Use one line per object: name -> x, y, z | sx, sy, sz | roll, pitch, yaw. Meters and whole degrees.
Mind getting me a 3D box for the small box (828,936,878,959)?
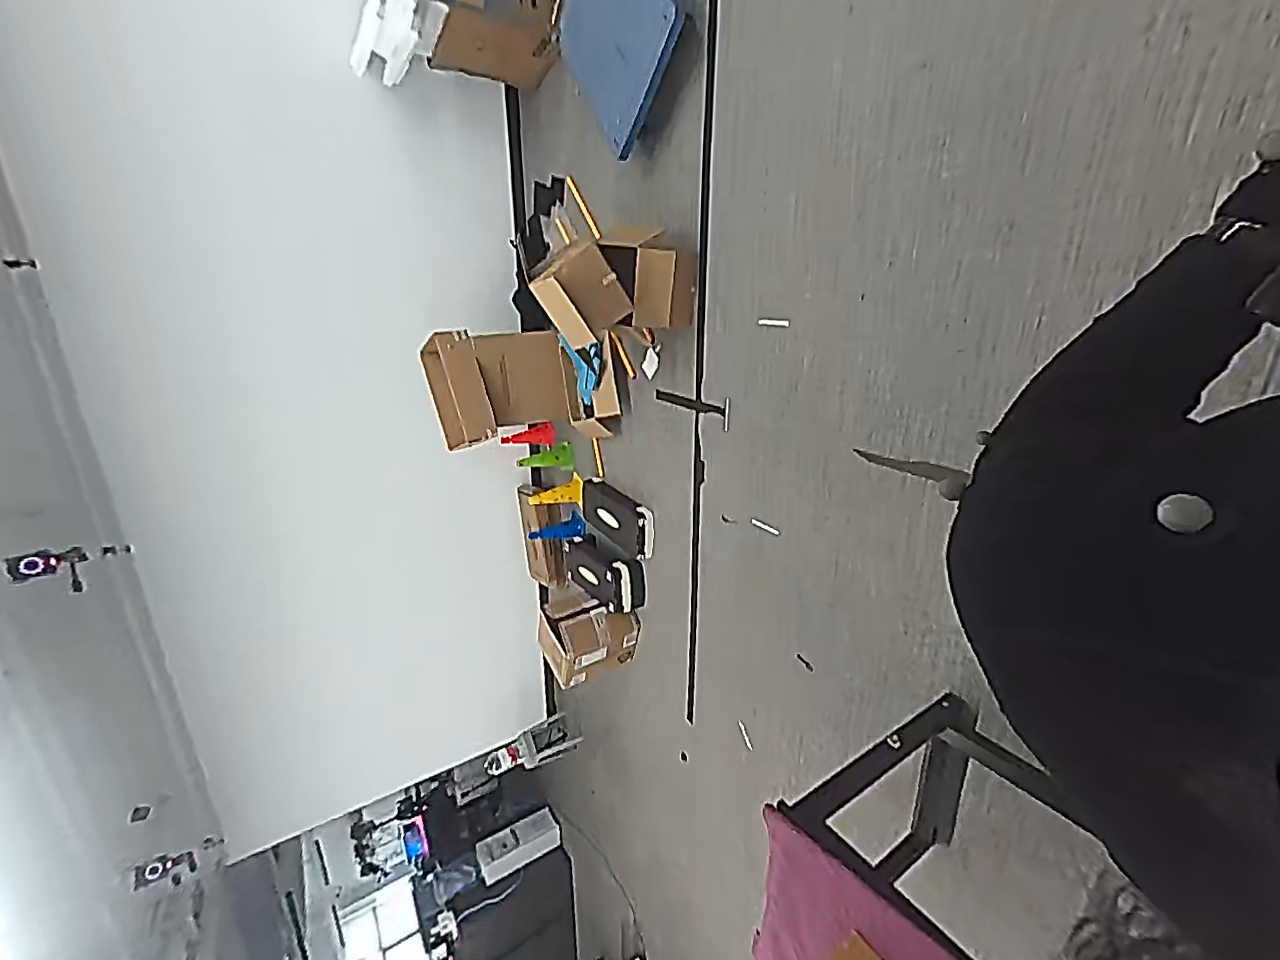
small box -> 0.425, 1.057, 1.050 | 0.179, 0.176, 0.168 | 31, 127, 51
